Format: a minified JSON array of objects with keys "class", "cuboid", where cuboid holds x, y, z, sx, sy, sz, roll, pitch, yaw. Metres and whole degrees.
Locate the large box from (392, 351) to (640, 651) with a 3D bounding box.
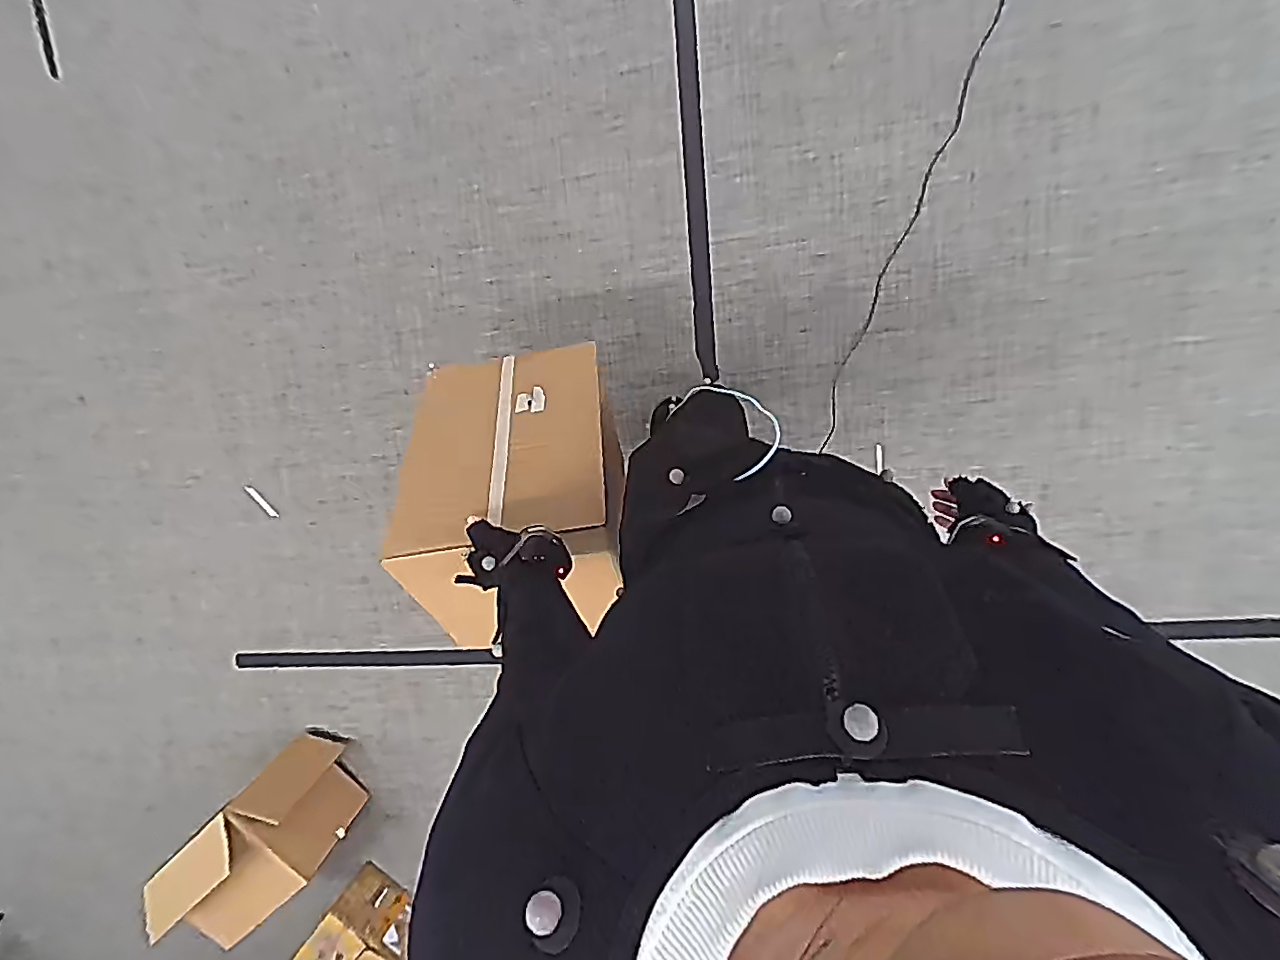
[{"class":"large box","cuboid":[-0.191,0.036,0.966,0.320,0.408,0.320,-9,139,1]}]
